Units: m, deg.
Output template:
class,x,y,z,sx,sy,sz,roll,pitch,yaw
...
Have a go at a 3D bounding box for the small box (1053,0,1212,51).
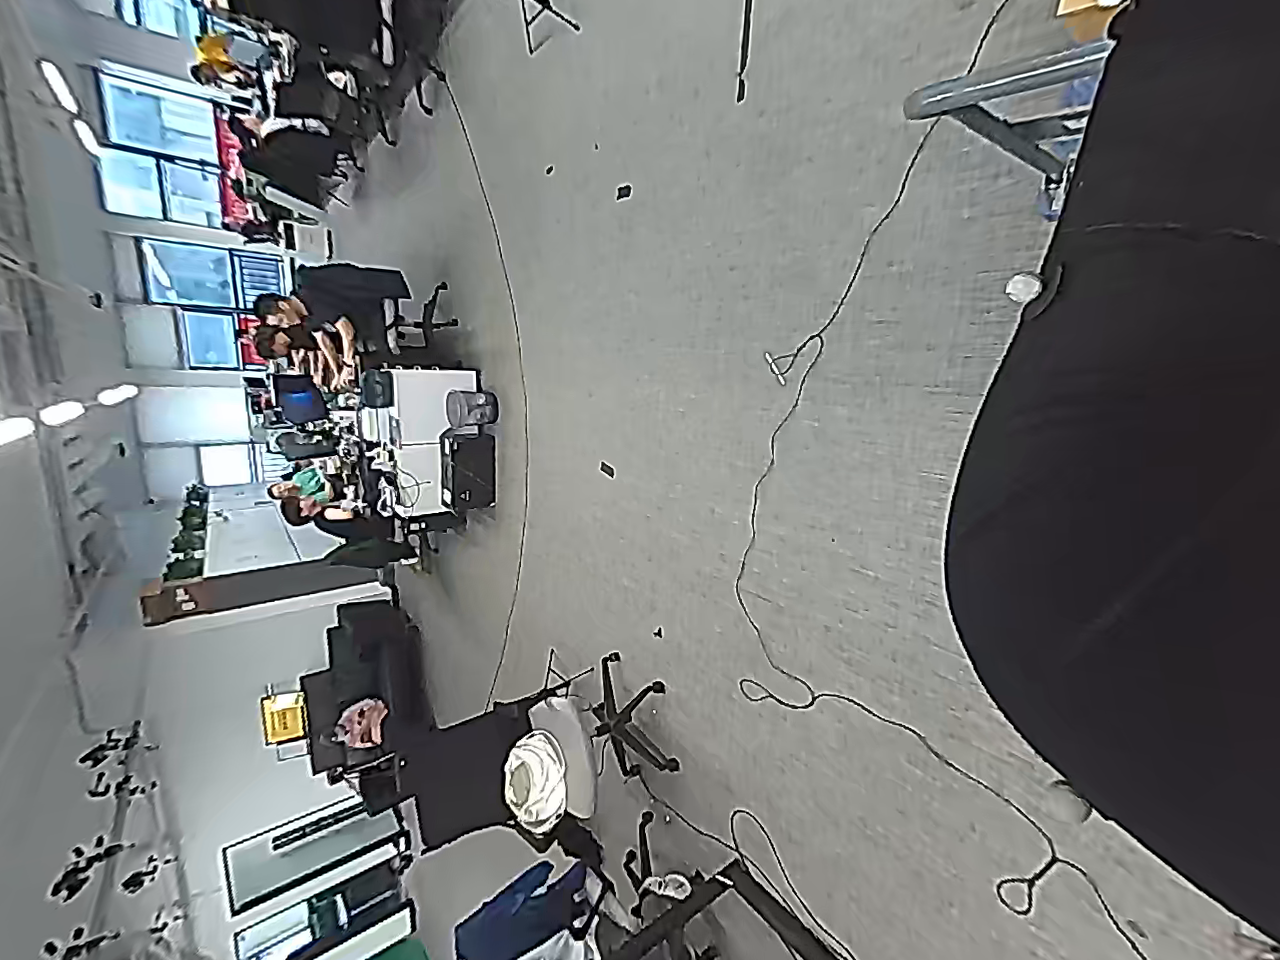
class,x,y,z,sx,sy,sz,roll,pitch,yaw
small box,0.830,-0.848,0.887,0.179,0.176,0.168,26,115,45
